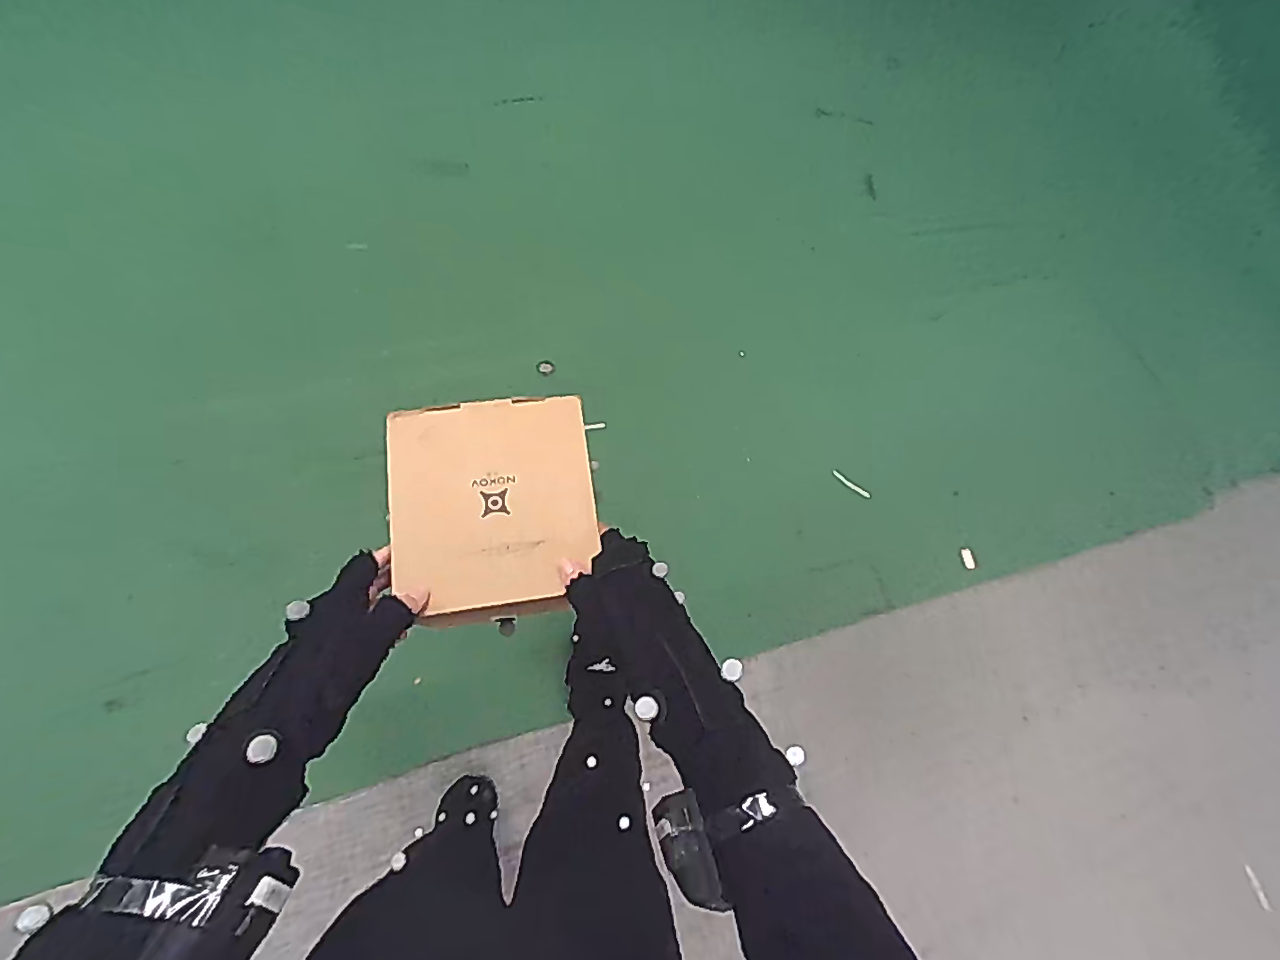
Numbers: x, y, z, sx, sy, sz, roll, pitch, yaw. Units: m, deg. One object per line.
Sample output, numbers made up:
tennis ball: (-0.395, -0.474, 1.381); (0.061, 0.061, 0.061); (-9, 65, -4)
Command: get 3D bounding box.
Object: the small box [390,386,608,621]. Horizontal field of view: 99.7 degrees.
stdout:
small box: (-0.124, 0.031, 0.513); (0.168, 0.176, 0.179); (-6, 73, -8)
